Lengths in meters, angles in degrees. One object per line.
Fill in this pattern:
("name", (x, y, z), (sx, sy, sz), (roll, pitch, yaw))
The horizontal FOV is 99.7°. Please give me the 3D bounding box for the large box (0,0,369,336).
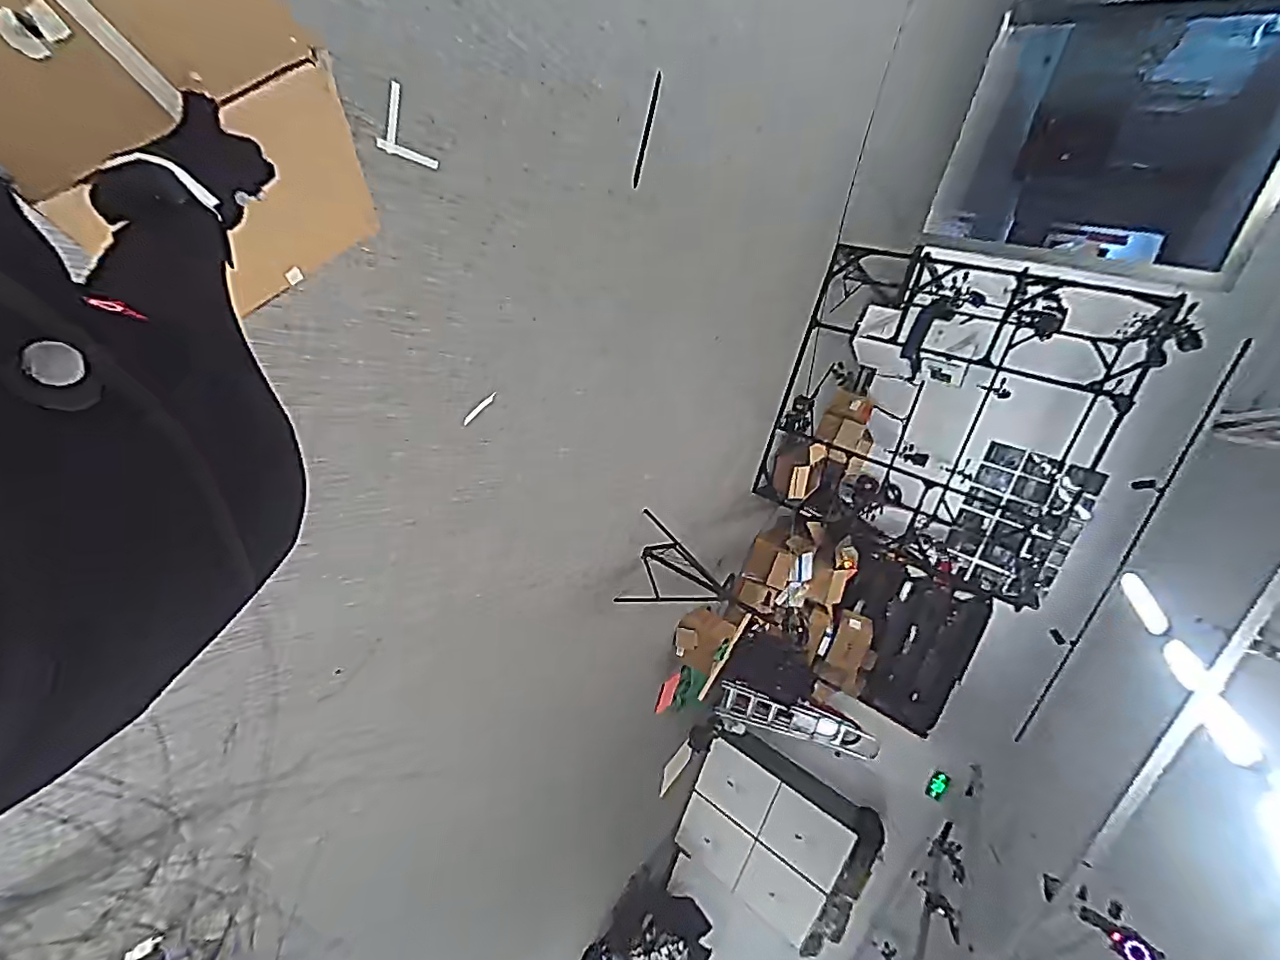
("large box", (-0.621, -0.464, 0.656), (0.320, 0.408, 0.320), (-46, -174, -17))
